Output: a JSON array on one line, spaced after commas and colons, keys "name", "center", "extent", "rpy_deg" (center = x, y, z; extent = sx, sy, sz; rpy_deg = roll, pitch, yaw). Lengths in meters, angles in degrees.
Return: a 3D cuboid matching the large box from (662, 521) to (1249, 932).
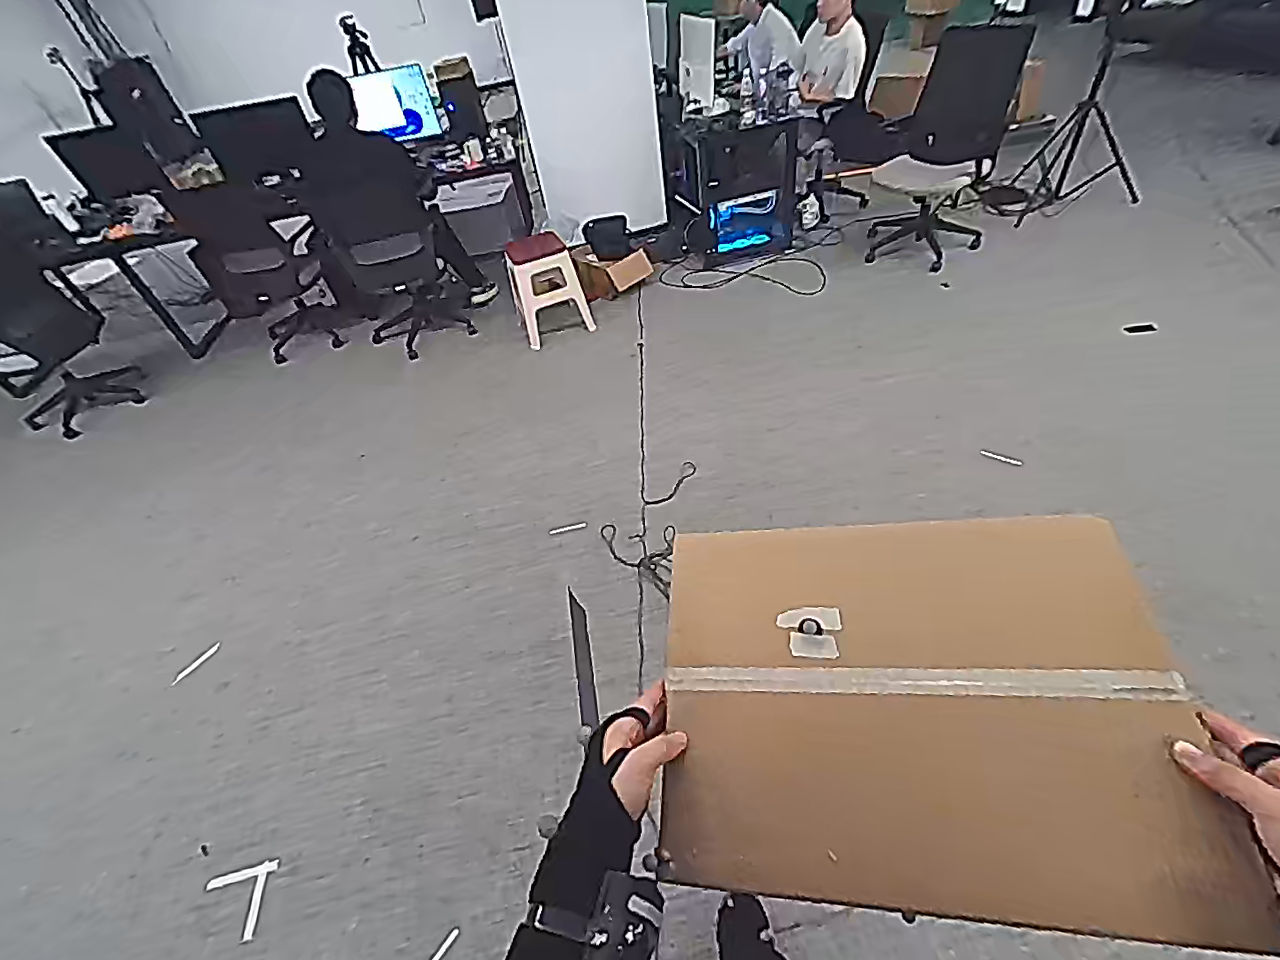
[{"name": "large box", "center": [0.259, 0.267, 0.600], "extent": [0.408, 0.320, 0.320], "rpy_deg": [-5, 54, 15]}]
